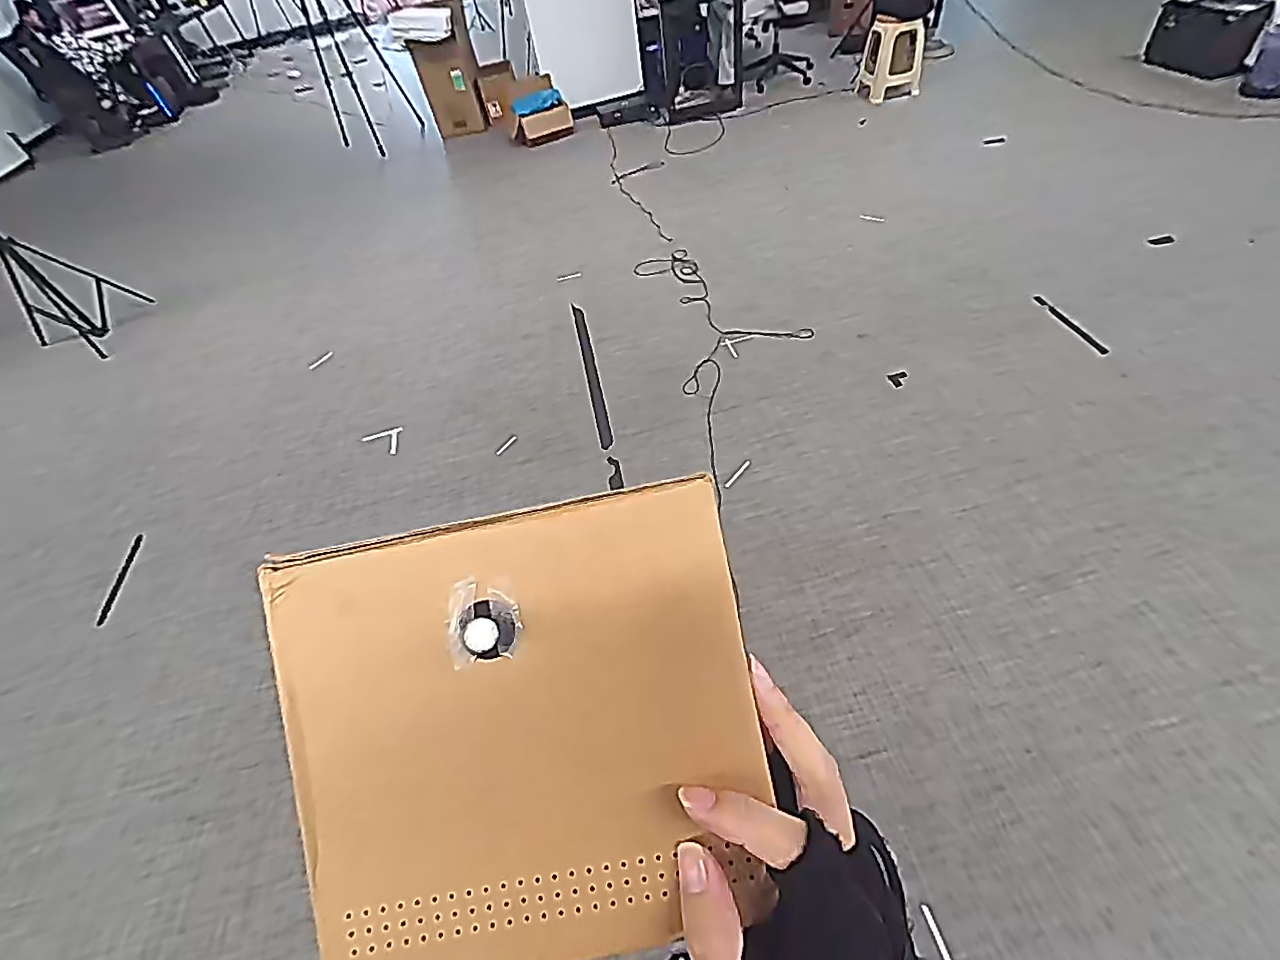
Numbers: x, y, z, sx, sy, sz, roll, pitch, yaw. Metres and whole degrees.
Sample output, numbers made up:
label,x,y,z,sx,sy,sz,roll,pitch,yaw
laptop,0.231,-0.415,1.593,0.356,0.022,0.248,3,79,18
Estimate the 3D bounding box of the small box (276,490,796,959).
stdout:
label,x,y,z,sx,sy,sz,roll,pitch,yaw
small box,-0.038,0.105,0.279,0.179,0.168,0.176,-11,88,2
